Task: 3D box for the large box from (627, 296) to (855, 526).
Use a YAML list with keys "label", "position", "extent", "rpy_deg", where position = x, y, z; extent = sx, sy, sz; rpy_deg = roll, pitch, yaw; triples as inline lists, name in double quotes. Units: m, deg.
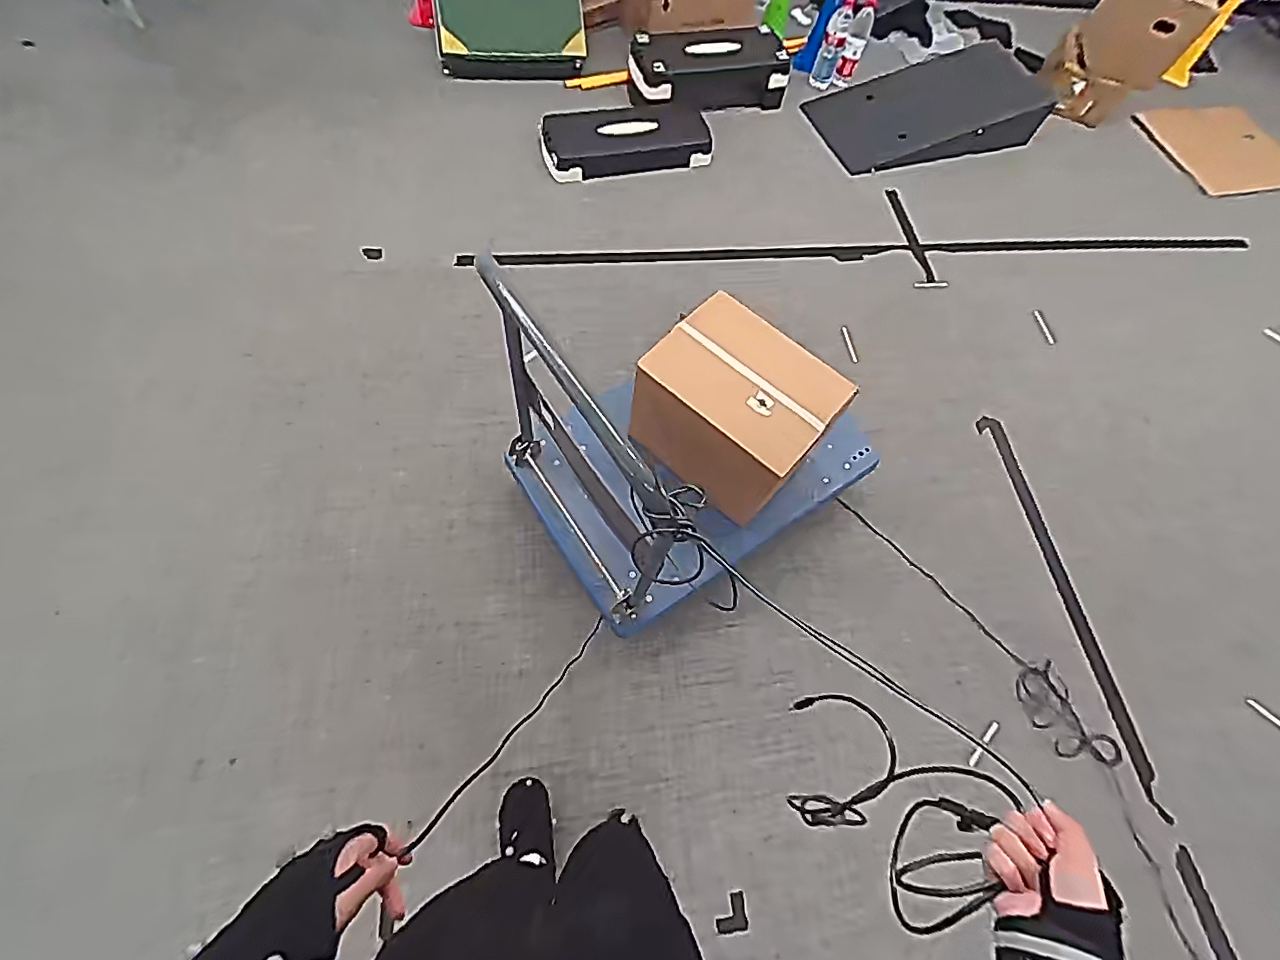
- label: "large box"
  position: [0.222, -0.162, 1.331]
  extent: [0.408, 0.320, 0.320]
  rpy_deg: [40, 68, 12]
